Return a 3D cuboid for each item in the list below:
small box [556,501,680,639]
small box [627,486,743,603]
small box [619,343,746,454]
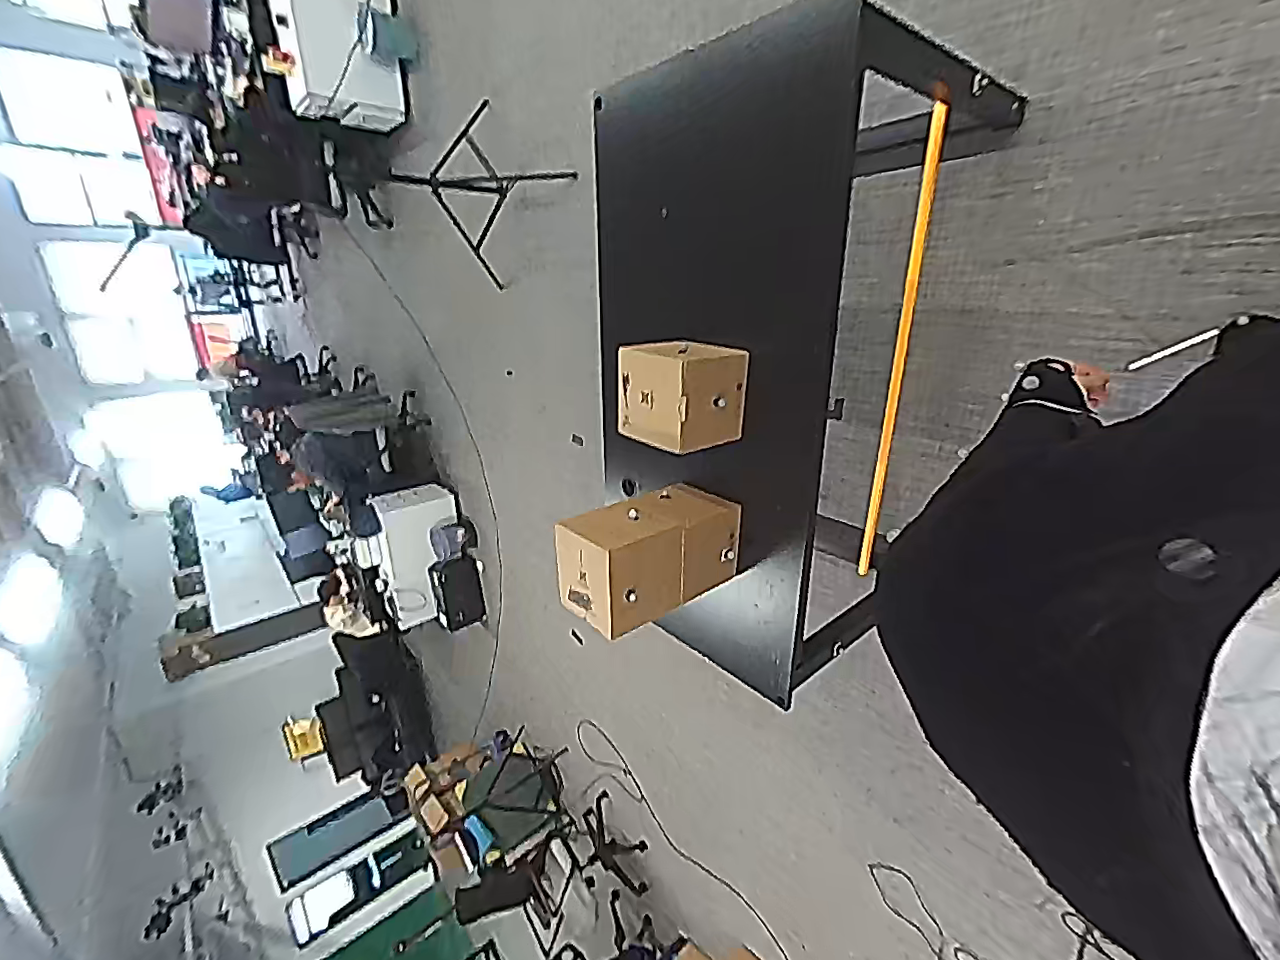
[{"bbox_3d":[-0.038,0.158,1.011,0.168,0.176,0.179,20,118,47],"label":"small box"},{"bbox_3d":[0.087,0.121,1.112,0.179,0.176,0.168,21,120,45],"label":"small box"},{"bbox_3d":[0.079,-0.162,1.016,0.179,0.176,0.168,24,121,45],"label":"small box"}]
